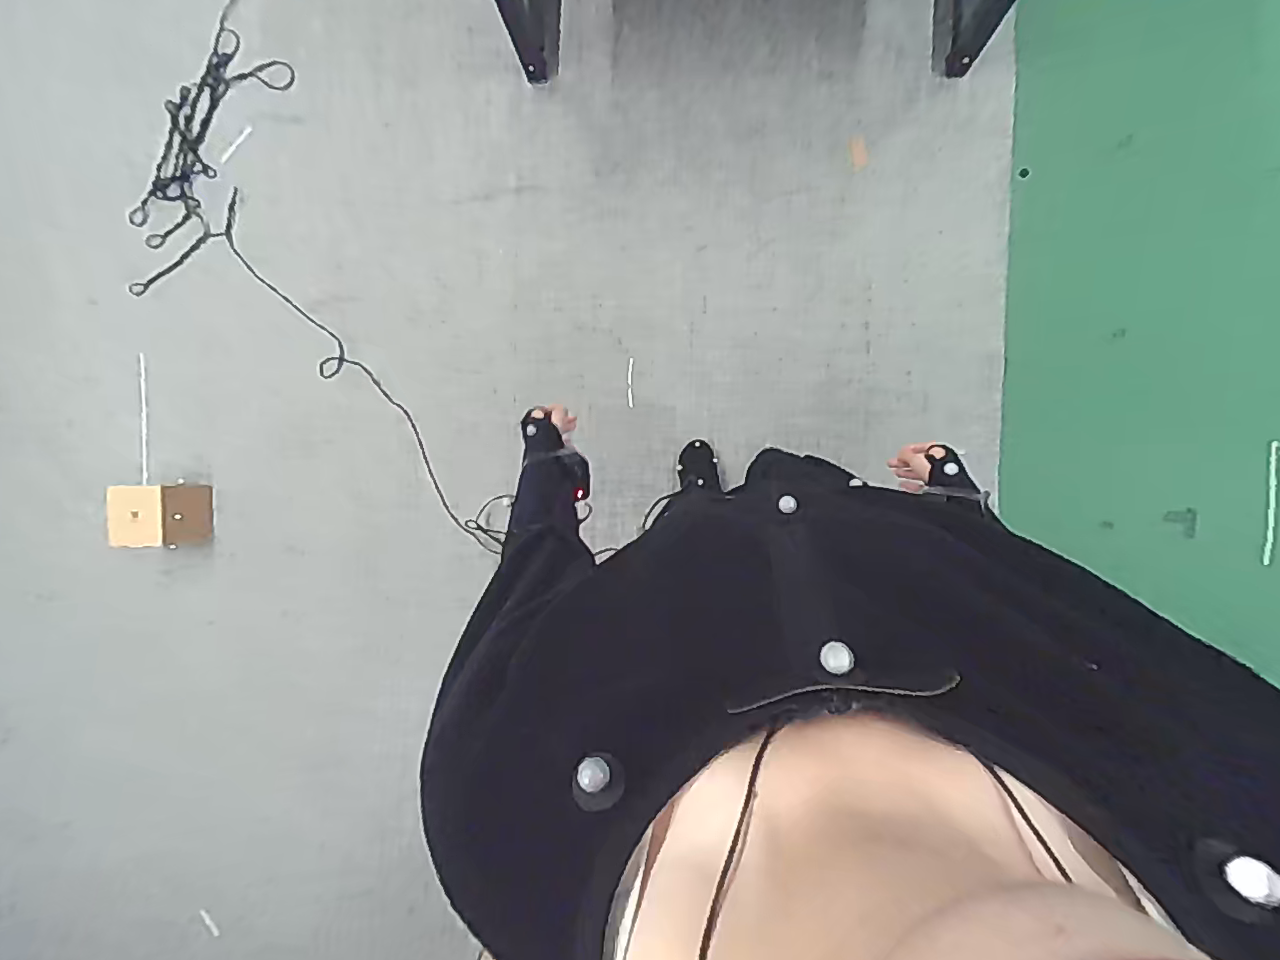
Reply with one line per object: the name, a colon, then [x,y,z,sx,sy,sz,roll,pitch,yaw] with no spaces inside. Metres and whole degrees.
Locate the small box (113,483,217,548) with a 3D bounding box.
small box: [-1.391,0.099,1.592,0.168,0.176,0.179,0,91,6]
